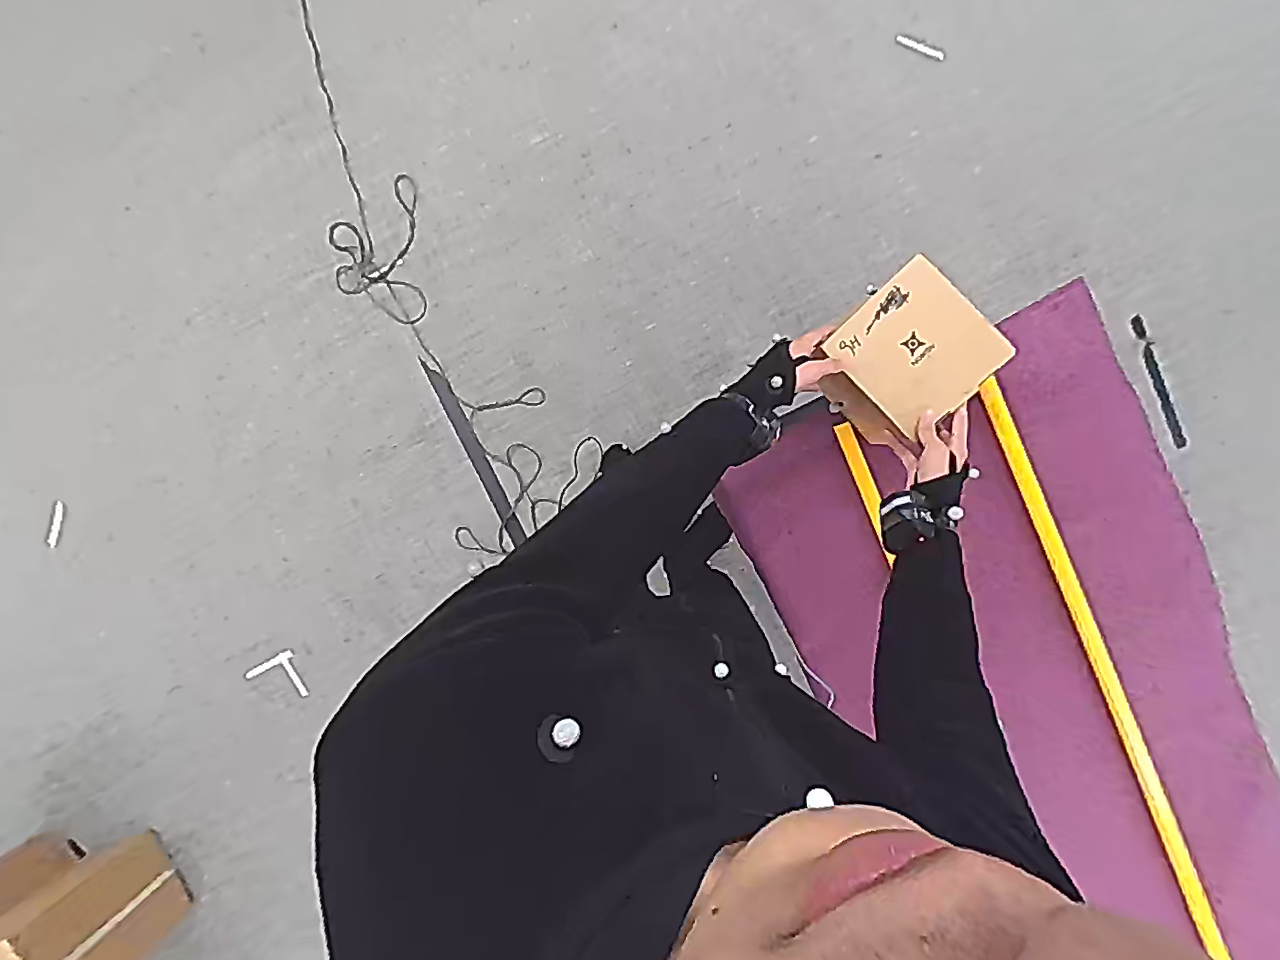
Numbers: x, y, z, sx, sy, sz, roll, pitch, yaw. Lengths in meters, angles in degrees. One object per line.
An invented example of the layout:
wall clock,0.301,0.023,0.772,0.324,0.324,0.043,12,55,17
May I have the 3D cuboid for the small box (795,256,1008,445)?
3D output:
small box,0.346,-0.170,0.753,0.168,0.176,0.179,-44,91,7
